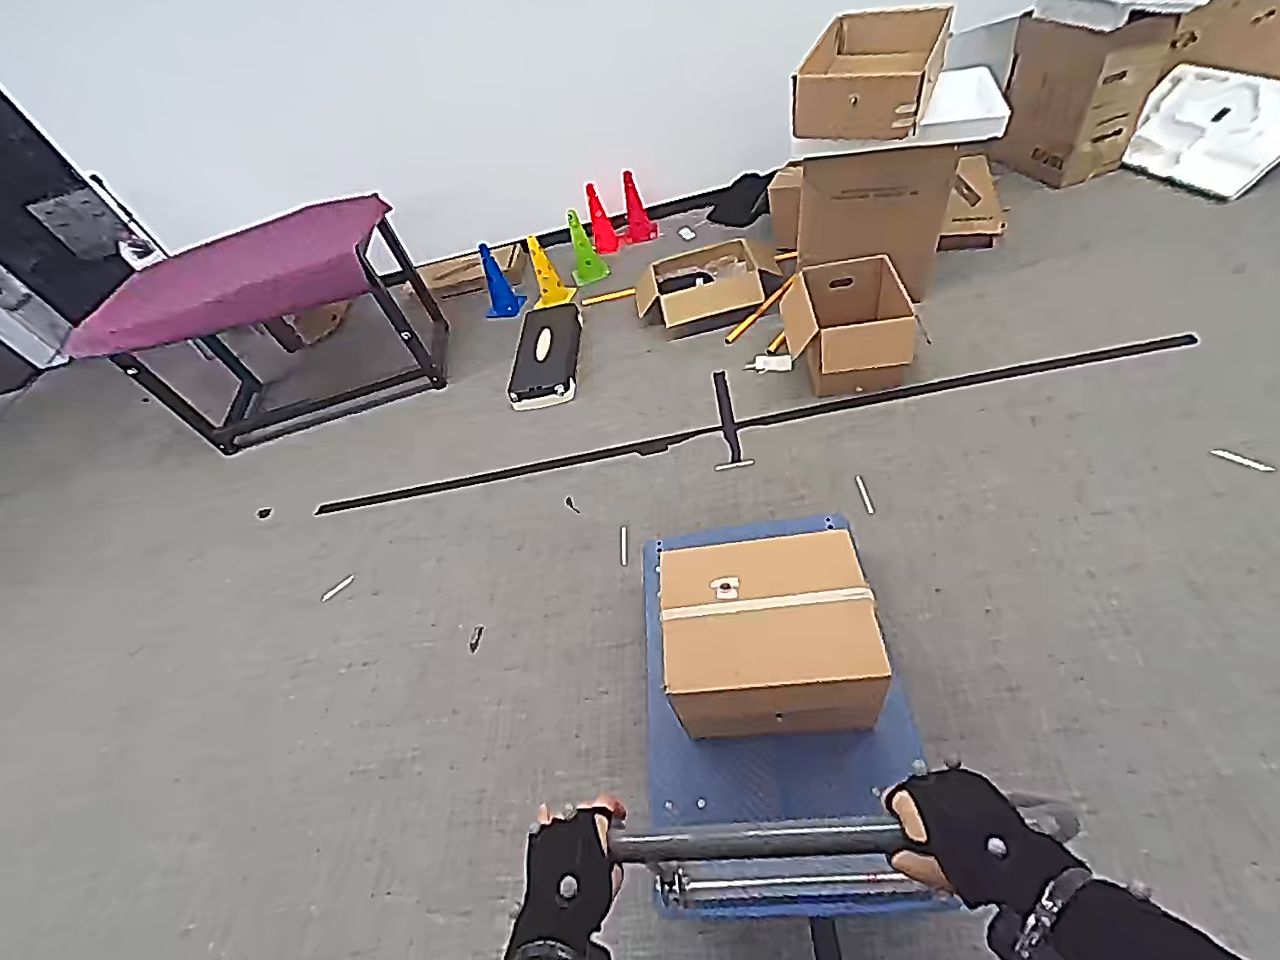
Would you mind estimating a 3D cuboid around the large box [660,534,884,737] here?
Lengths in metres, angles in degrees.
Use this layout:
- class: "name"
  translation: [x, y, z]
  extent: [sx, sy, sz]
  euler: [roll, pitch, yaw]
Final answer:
- class: "large box"
  translation: [0.276, 0.356, 1.199]
  extent: [0.408, 0.320, 0.320]
  euler: [-9, 48, 10]
